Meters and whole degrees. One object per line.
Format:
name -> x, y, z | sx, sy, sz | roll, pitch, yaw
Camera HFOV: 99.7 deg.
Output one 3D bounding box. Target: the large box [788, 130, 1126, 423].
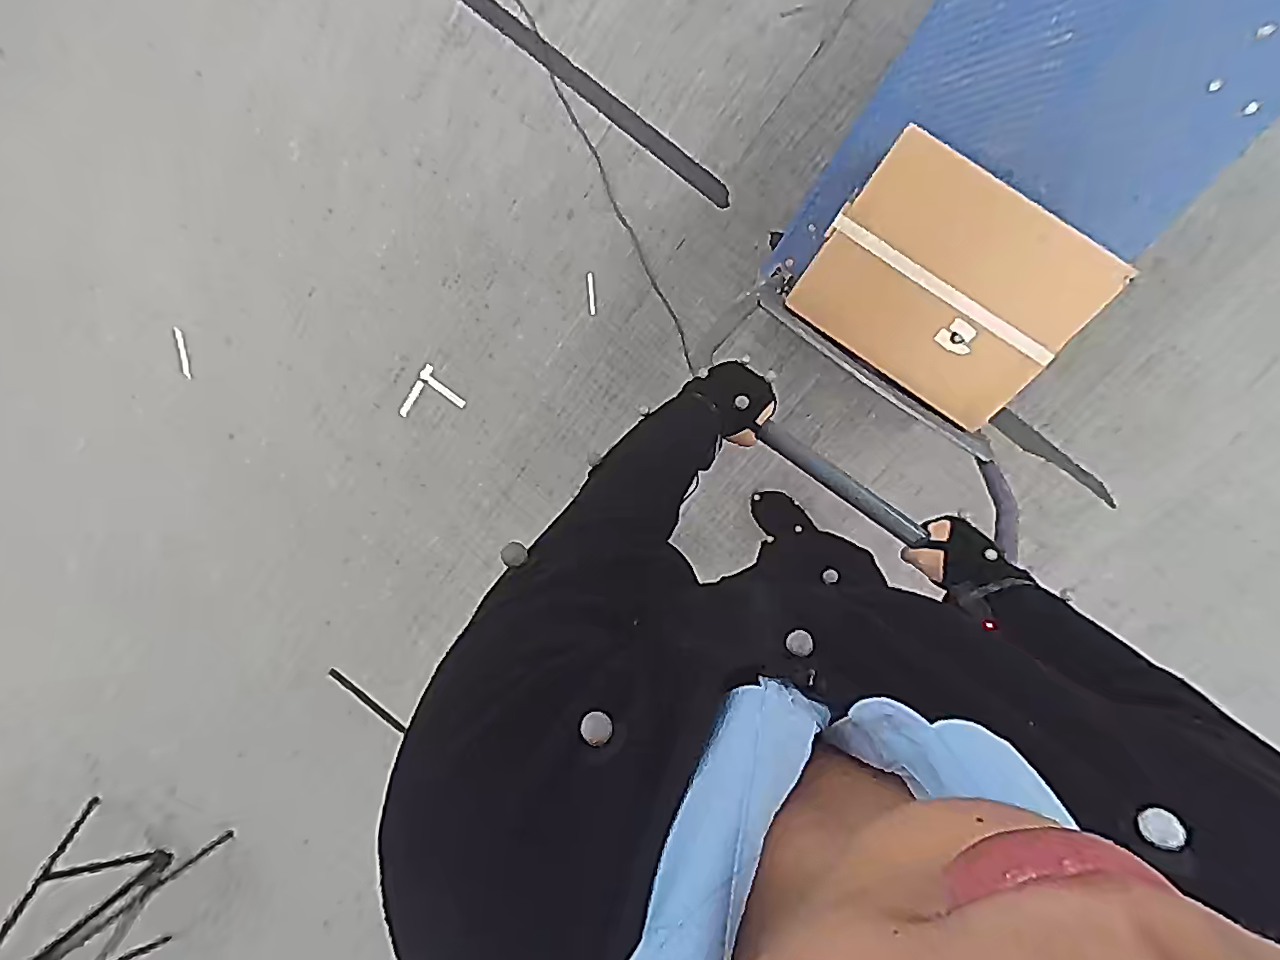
large box -> 0.543, -0.376, 1.023 | 0.408, 0.320, 0.320 | 36, 120, 2
